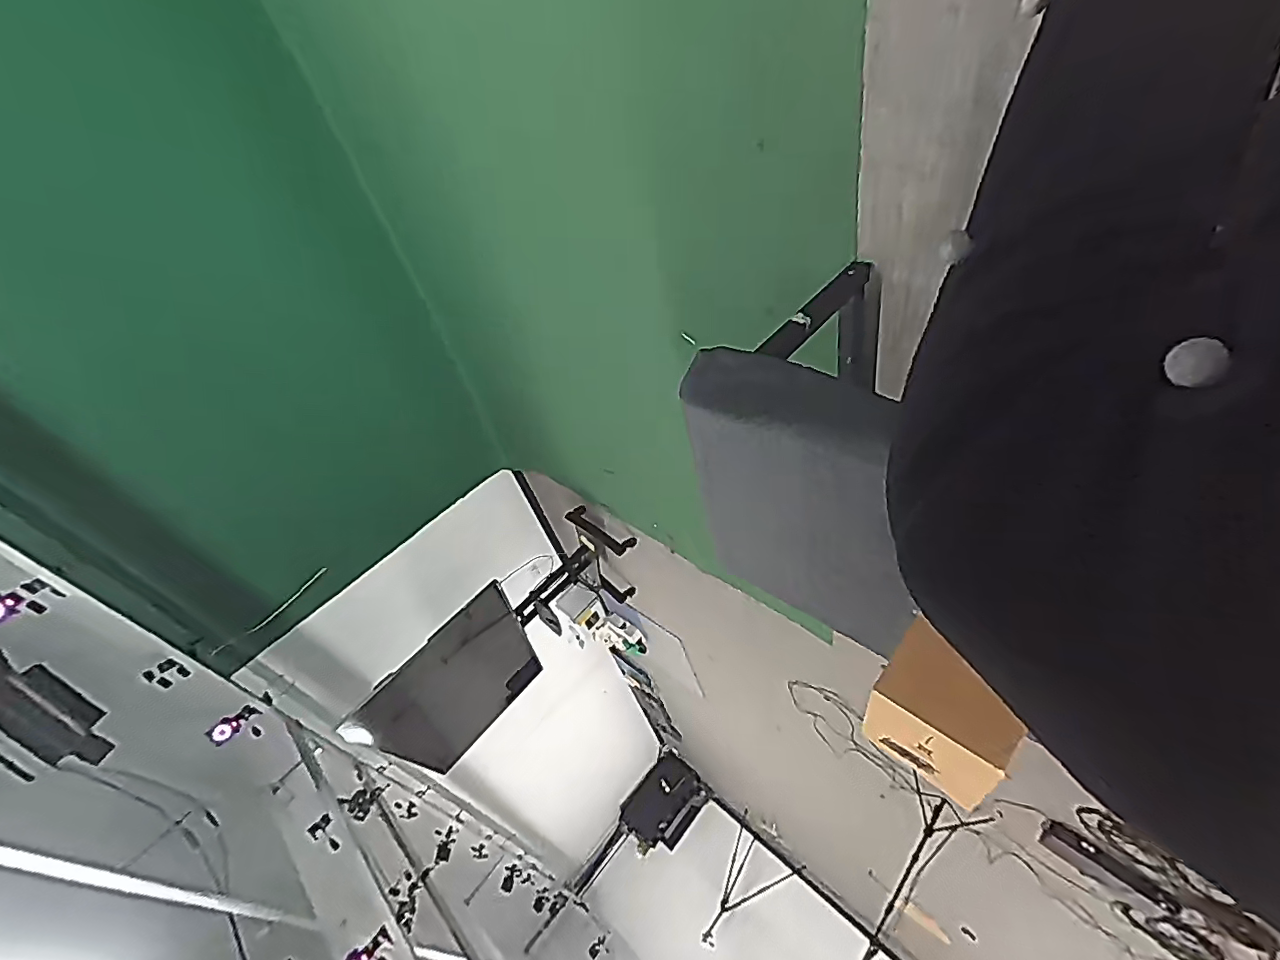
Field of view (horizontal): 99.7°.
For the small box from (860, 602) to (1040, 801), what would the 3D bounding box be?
[{"bbox_3d":[0.439,0.314,0.781,0.168,0.176,0.179,28,152,39],"label":"small box"}]
